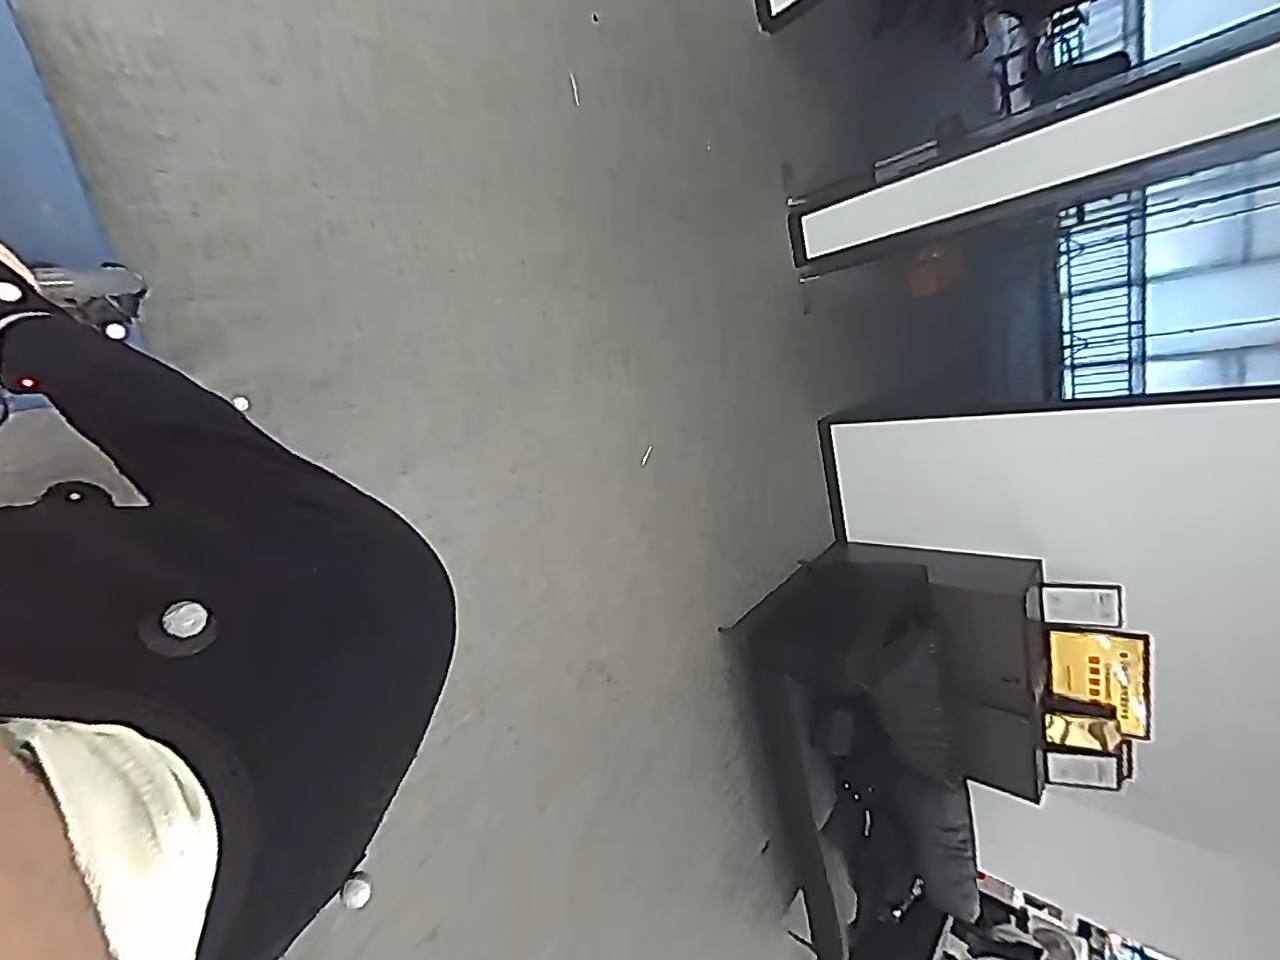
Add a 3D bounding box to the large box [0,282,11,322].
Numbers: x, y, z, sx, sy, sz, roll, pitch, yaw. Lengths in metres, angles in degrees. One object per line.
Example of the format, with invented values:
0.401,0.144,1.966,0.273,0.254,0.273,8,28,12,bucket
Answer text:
-1.165,-0.428,0.723,0.320,0.320,0.408,-20,104,-42,large box
